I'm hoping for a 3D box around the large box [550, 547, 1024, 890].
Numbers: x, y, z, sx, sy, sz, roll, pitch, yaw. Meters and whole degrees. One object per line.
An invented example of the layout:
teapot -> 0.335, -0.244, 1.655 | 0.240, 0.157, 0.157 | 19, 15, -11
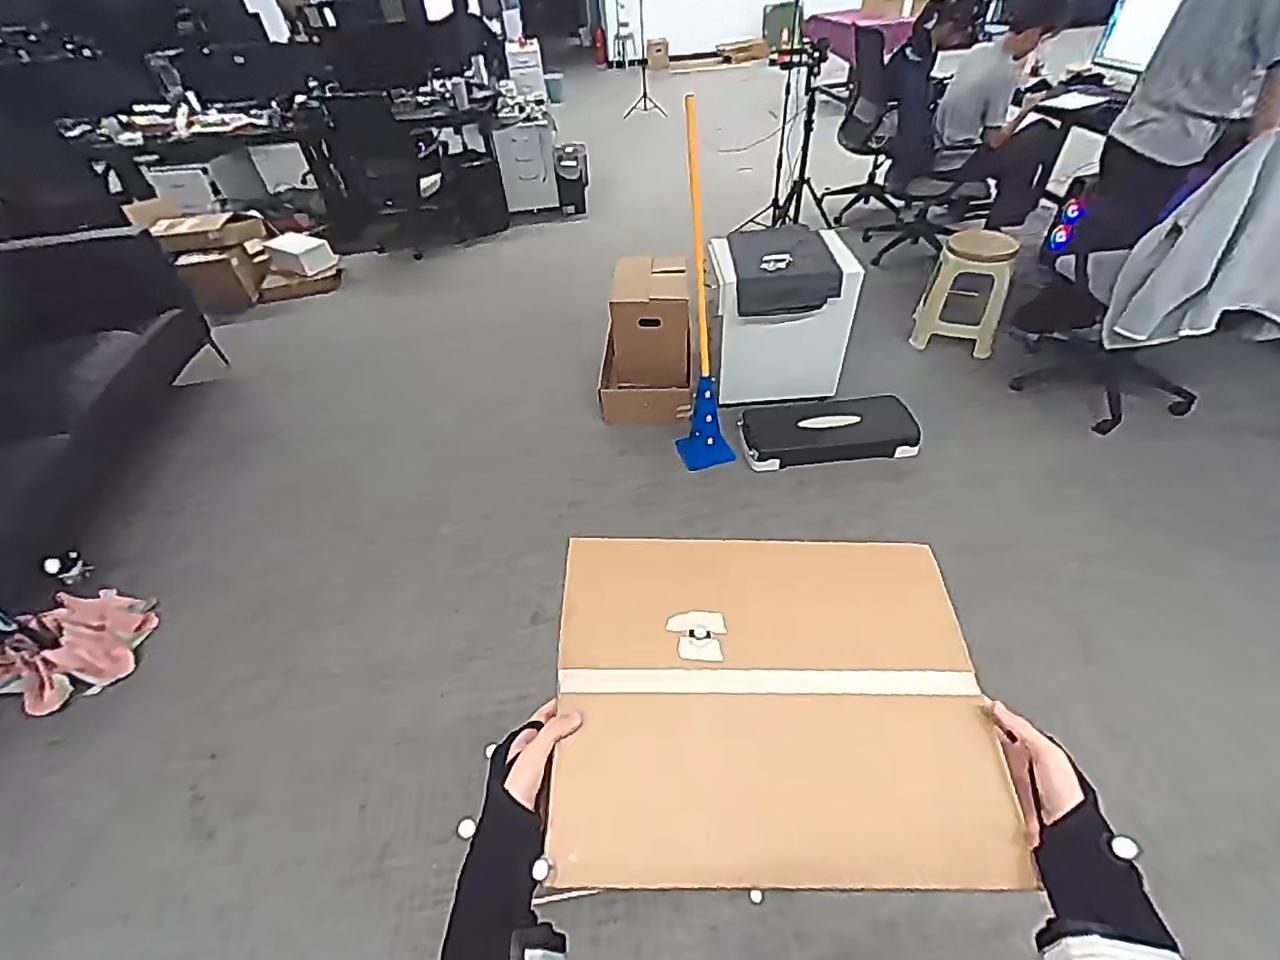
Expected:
large box -> 0.123, 0.289, 0.651 | 0.408, 0.320, 0.320 | 0, 55, 0
